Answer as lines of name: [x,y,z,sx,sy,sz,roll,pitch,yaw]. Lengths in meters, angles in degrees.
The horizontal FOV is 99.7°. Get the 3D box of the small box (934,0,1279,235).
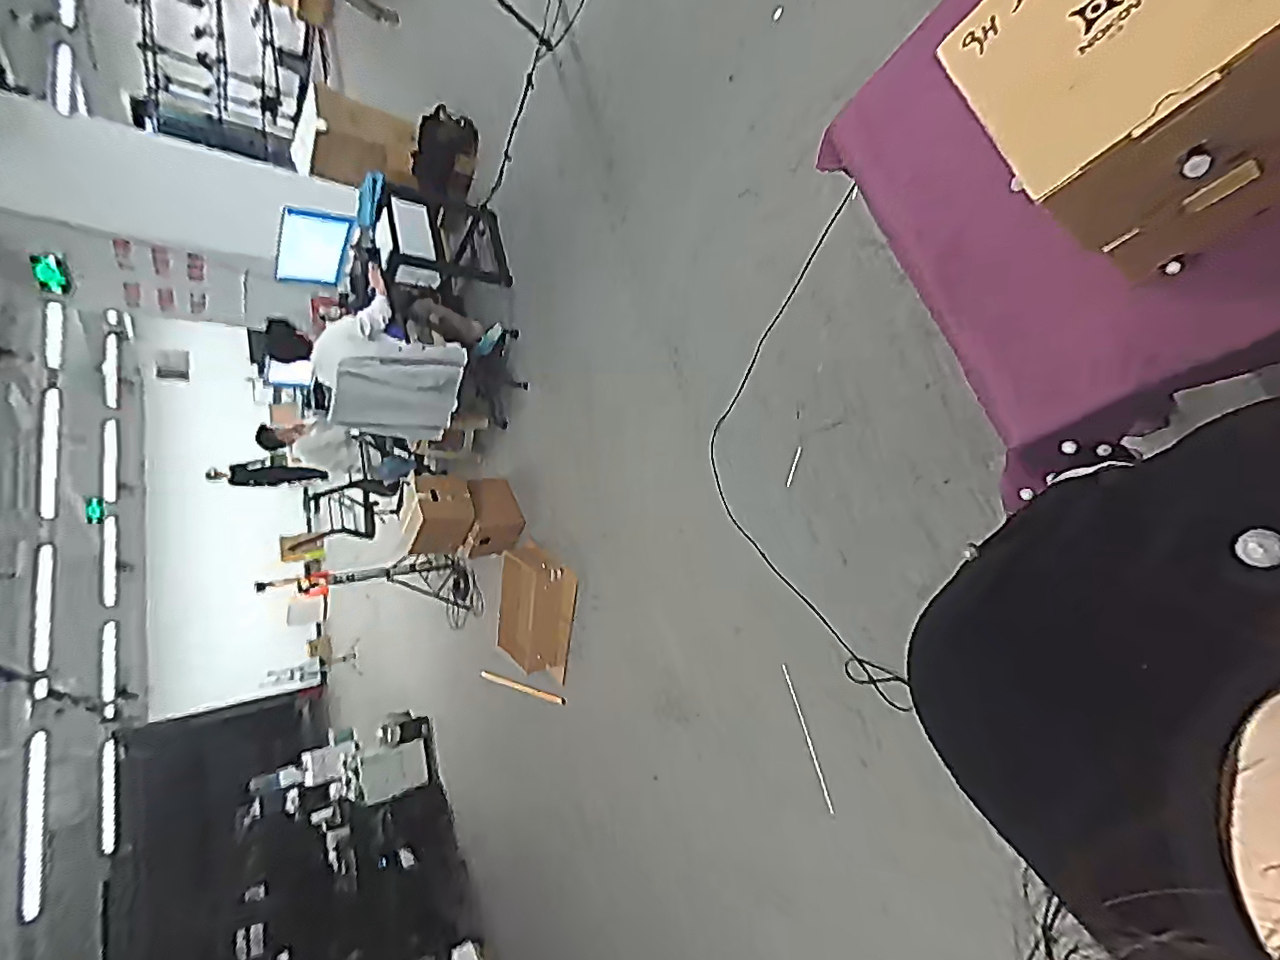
small box: [0.384,-0.324,0.432,0.168,0.176,0.179,-35,66,46]

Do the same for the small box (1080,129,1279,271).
small box: [0.515,-0.330,0.531,0.168,0.176,0.179,-38,62,46]
